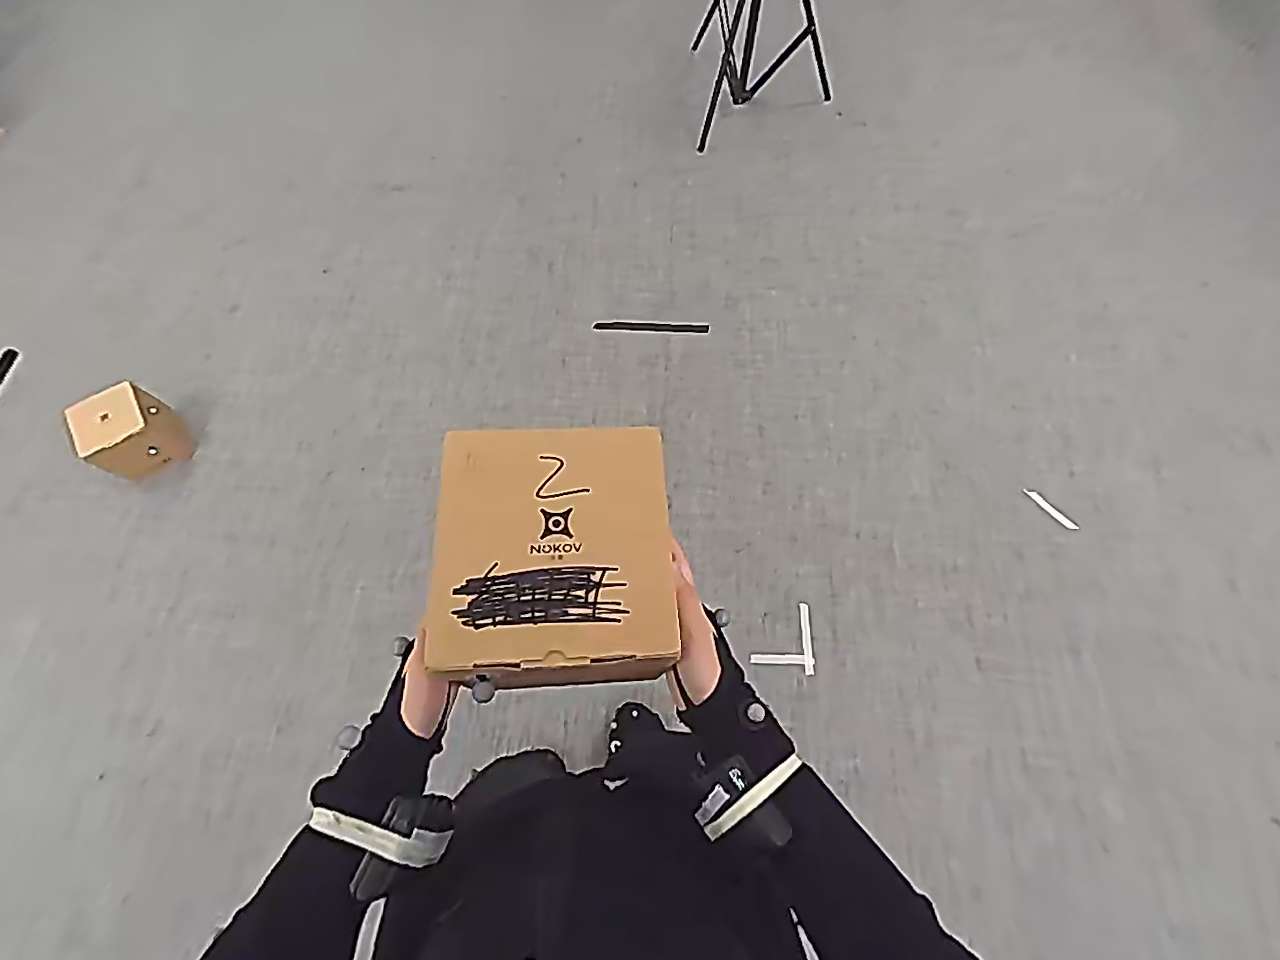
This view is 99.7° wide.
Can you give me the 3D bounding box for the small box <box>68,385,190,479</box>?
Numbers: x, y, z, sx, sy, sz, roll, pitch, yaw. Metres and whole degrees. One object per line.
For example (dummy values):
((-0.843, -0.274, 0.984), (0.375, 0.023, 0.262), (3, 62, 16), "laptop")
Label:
((-1.401, -0.123, 1.494), (0.168, 0.176, 0.179), (-32, 70, -13), "small box")
